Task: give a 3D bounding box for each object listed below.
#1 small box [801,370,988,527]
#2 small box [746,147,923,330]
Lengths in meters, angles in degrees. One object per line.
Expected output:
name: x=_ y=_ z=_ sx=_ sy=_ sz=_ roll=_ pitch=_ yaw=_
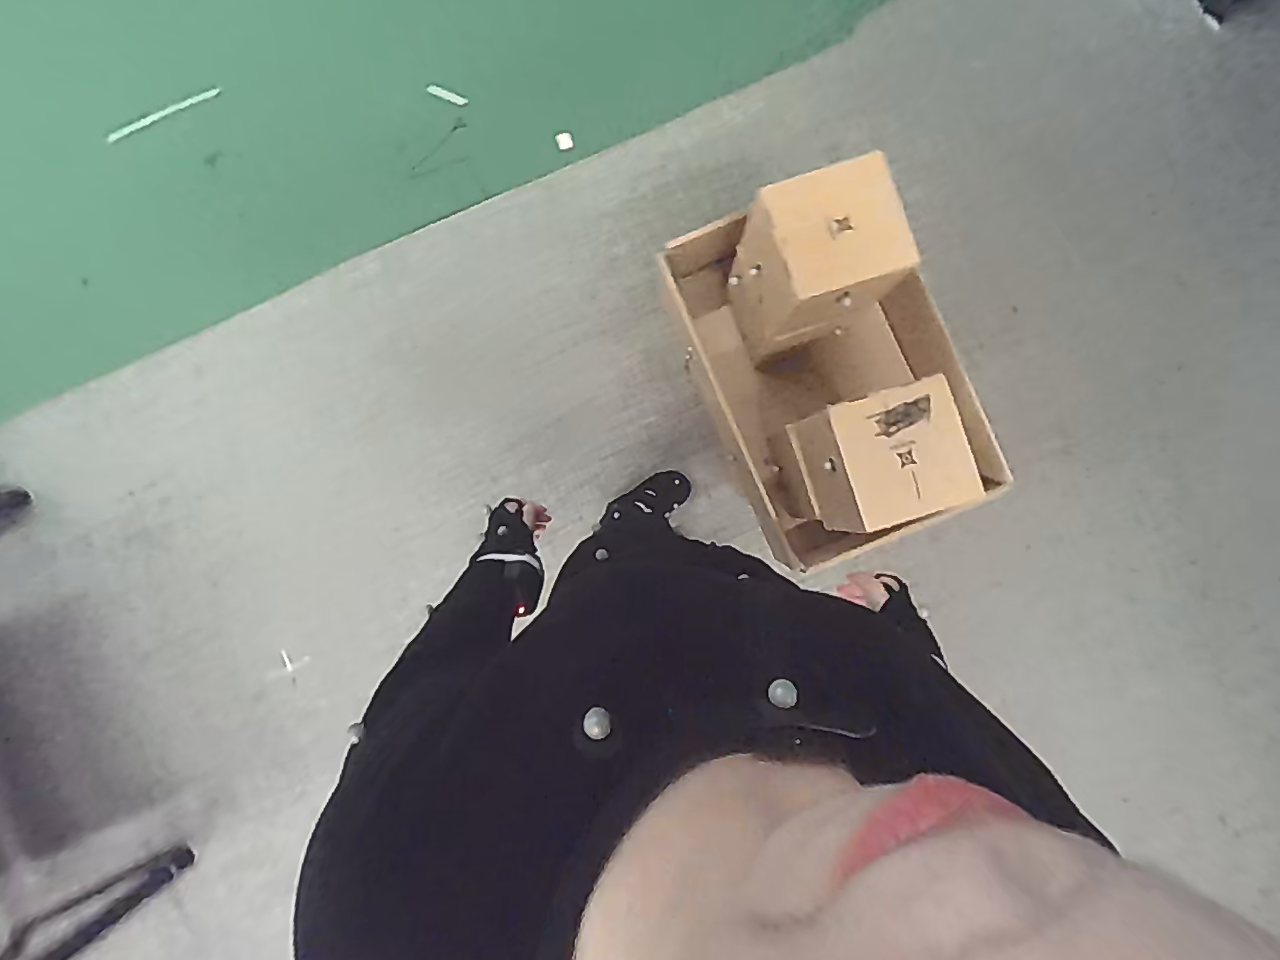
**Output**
small box: x=0.352 y=-0.037 z=0.785 sx=0.168 sy=0.176 sz=0.179 roll=-16 pitch=87 yaw=1
small box: x=0.274 y=-0.344 z=0.802 sx=0.179 sy=0.176 sz=0.168 roll=-17 pitch=87 yaw=1
